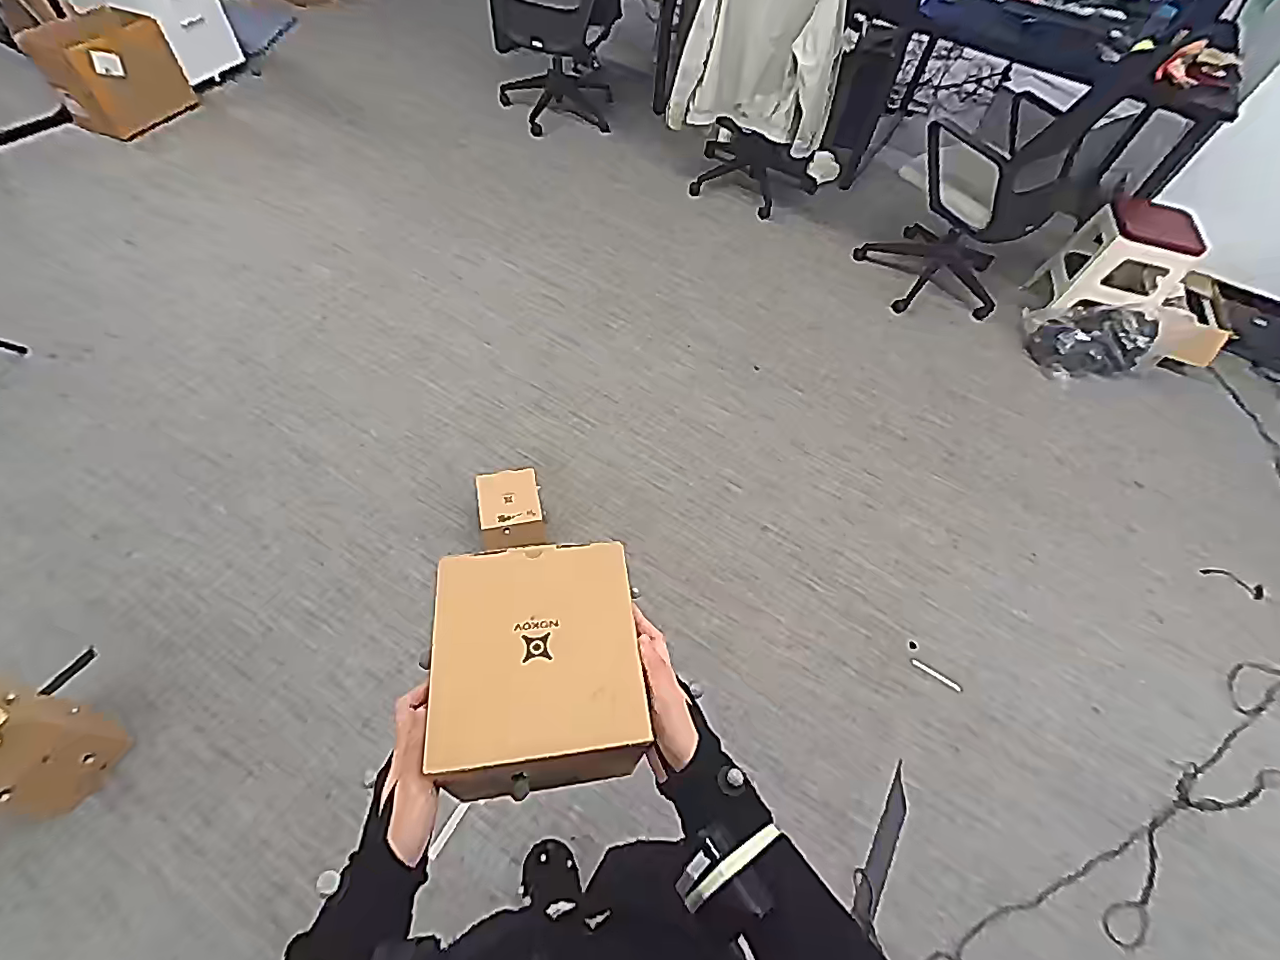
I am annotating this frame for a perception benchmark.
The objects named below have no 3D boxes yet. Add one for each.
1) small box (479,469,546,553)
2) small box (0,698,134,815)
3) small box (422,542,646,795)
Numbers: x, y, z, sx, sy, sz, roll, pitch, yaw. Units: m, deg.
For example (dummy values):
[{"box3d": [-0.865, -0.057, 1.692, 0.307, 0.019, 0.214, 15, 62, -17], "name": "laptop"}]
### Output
[{"box3d": [-0.368, 0.093, 1.567, 0.168, 0.176, 0.179, -9, 59, -12], "name": "small box"}, {"box3d": [-1.265, 0.591, 1.160, 0.179, 0.176, 0.168, 25, 58, 12], "name": "small box"}, {"box3d": [-0.092, 0.180, 0.504, 0.168, 0.176, 0.179, -4, 53, -10], "name": "small box"}]
